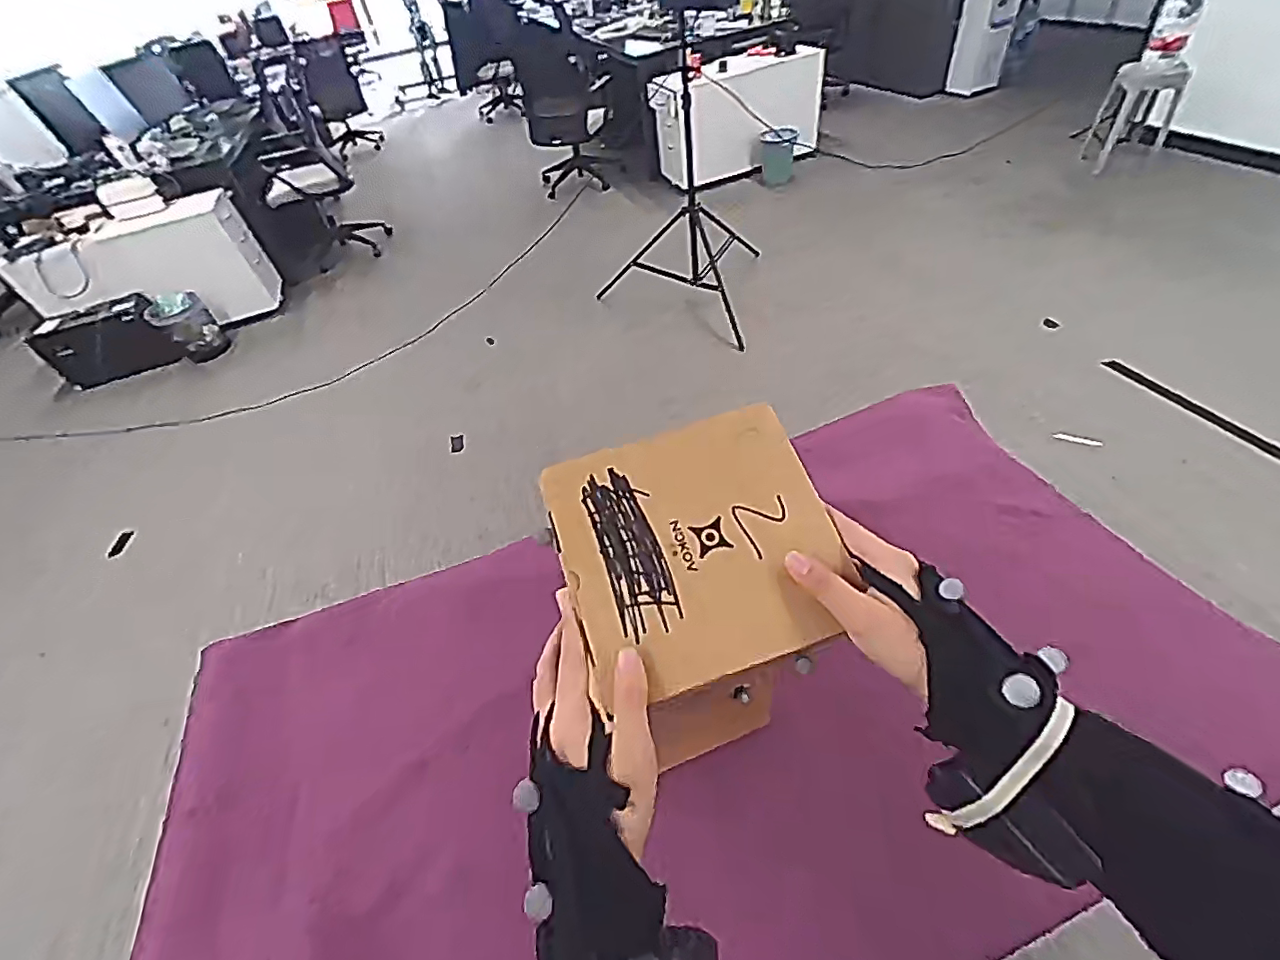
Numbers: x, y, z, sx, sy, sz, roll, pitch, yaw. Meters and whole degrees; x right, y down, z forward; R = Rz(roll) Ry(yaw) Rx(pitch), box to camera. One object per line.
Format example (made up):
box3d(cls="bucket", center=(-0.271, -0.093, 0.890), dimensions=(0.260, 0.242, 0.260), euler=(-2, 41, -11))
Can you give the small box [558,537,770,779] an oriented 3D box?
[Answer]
box3d(cls="small box", center=(0.029, 0.200, 0.601), dimensions=(0.179, 0.176, 0.168), euler=(-20, 46, -9))
